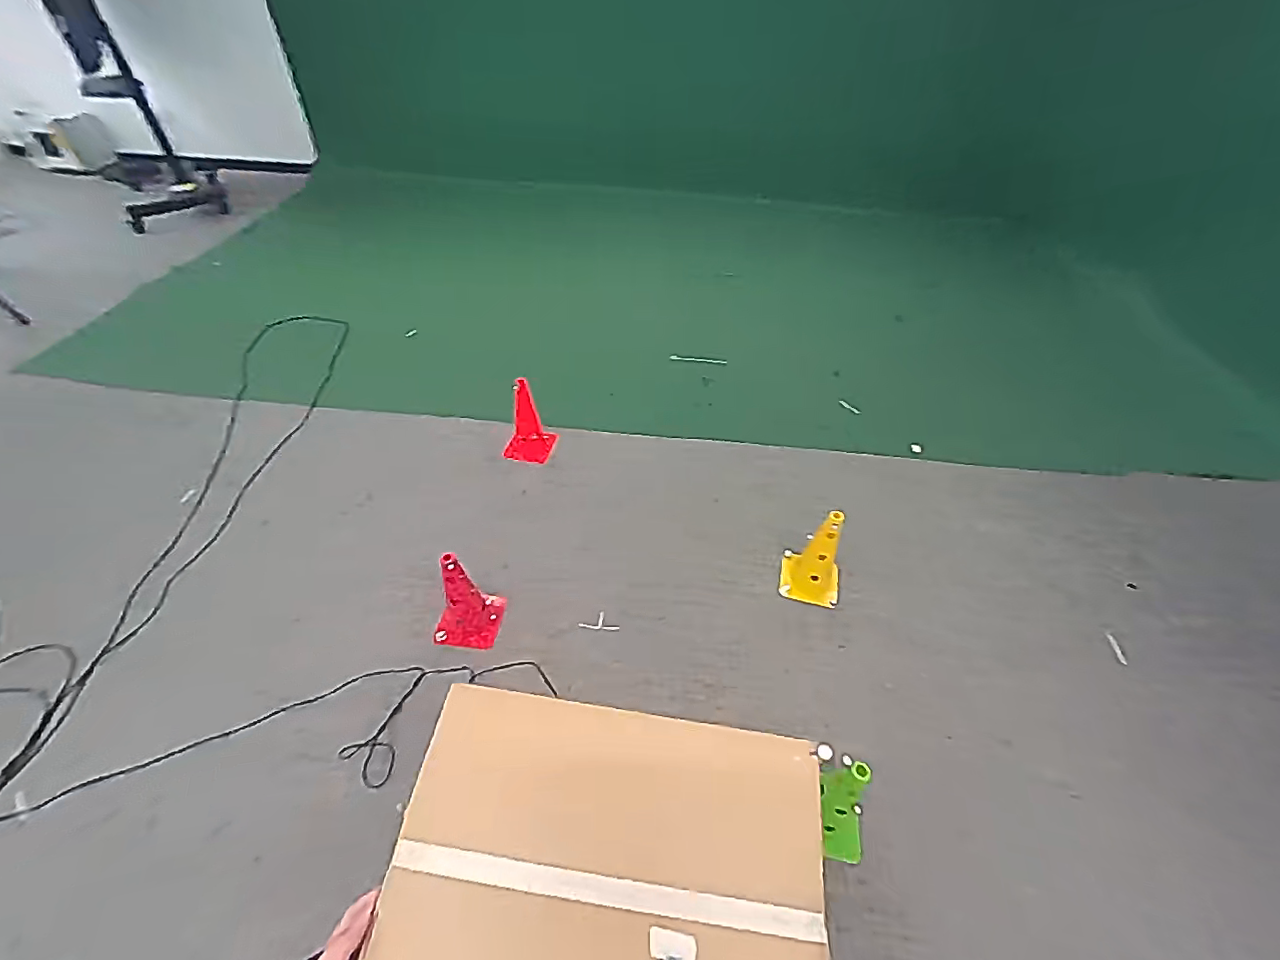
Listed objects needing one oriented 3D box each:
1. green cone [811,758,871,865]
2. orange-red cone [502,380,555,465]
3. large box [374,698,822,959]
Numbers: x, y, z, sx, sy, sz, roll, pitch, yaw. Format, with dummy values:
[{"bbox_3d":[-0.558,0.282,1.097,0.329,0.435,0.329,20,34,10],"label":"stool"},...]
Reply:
[{"bbox_3d":[0.491,0.773,1.325,0.200,0.368,0.202,10,45,6],"label":"green cone"},{"bbox_3d":[-0.492,-0.263,2.289,0.199,0.360,0.198,10,45,9],"label":"orange-red cone"},{"bbox_3d":[-0.038,0.474,0.627,0.408,0.320,0.320,7,55,2],"label":"large box"}]
